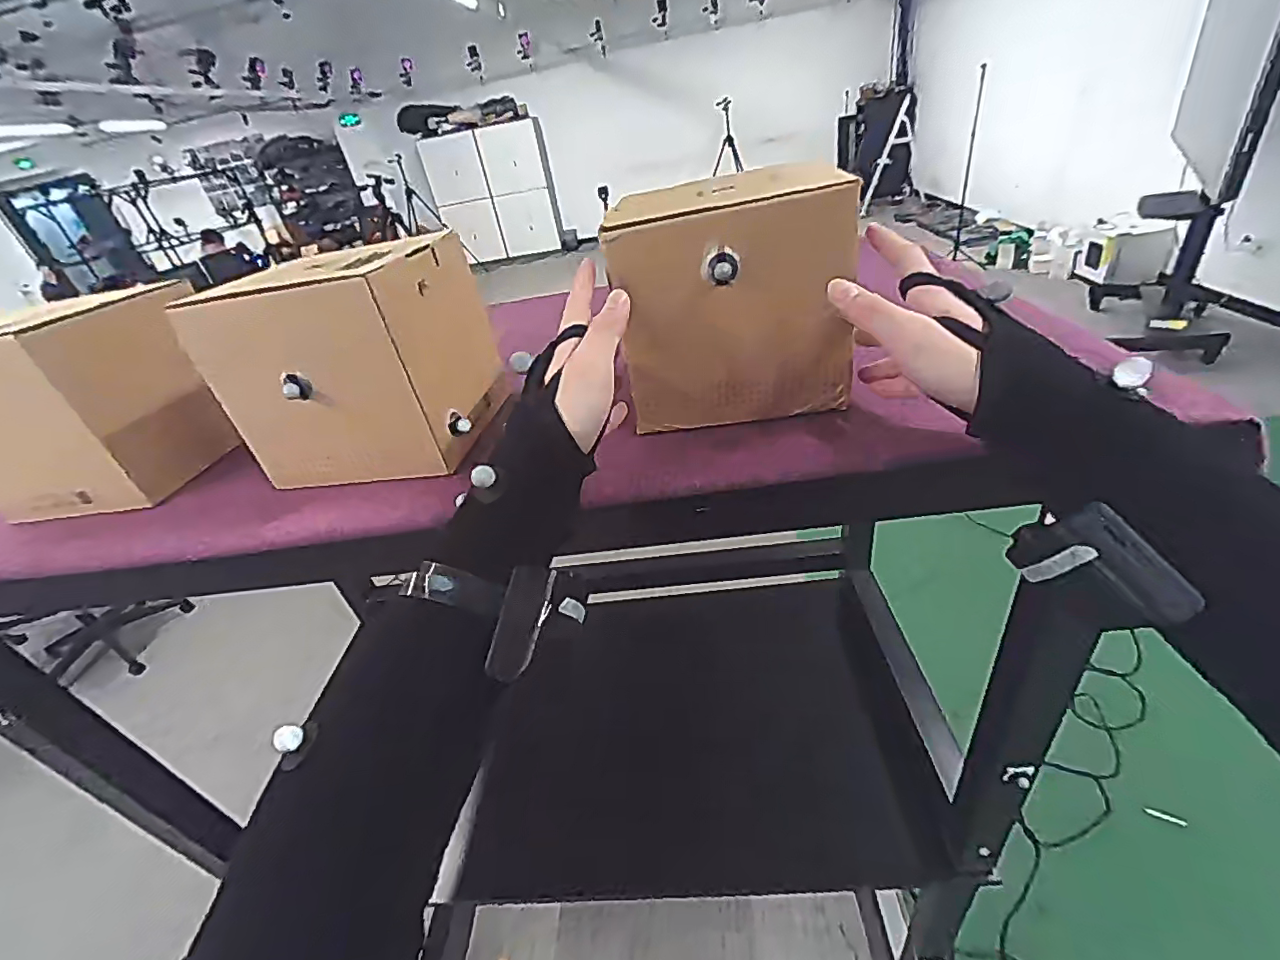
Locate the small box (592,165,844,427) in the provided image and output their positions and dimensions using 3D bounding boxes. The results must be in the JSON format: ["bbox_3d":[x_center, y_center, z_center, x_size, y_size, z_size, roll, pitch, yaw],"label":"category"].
[{"bbox_3d":[0.073,-0.158,0.472,0.179,0.176,0.168,-6,34,10],"label":"small box"}]

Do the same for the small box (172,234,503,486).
[{"bbox_3d":[-0.249,-0.110,0.502,0.179,0.176,0.168,-5,33,12],"label":"small box"}]
